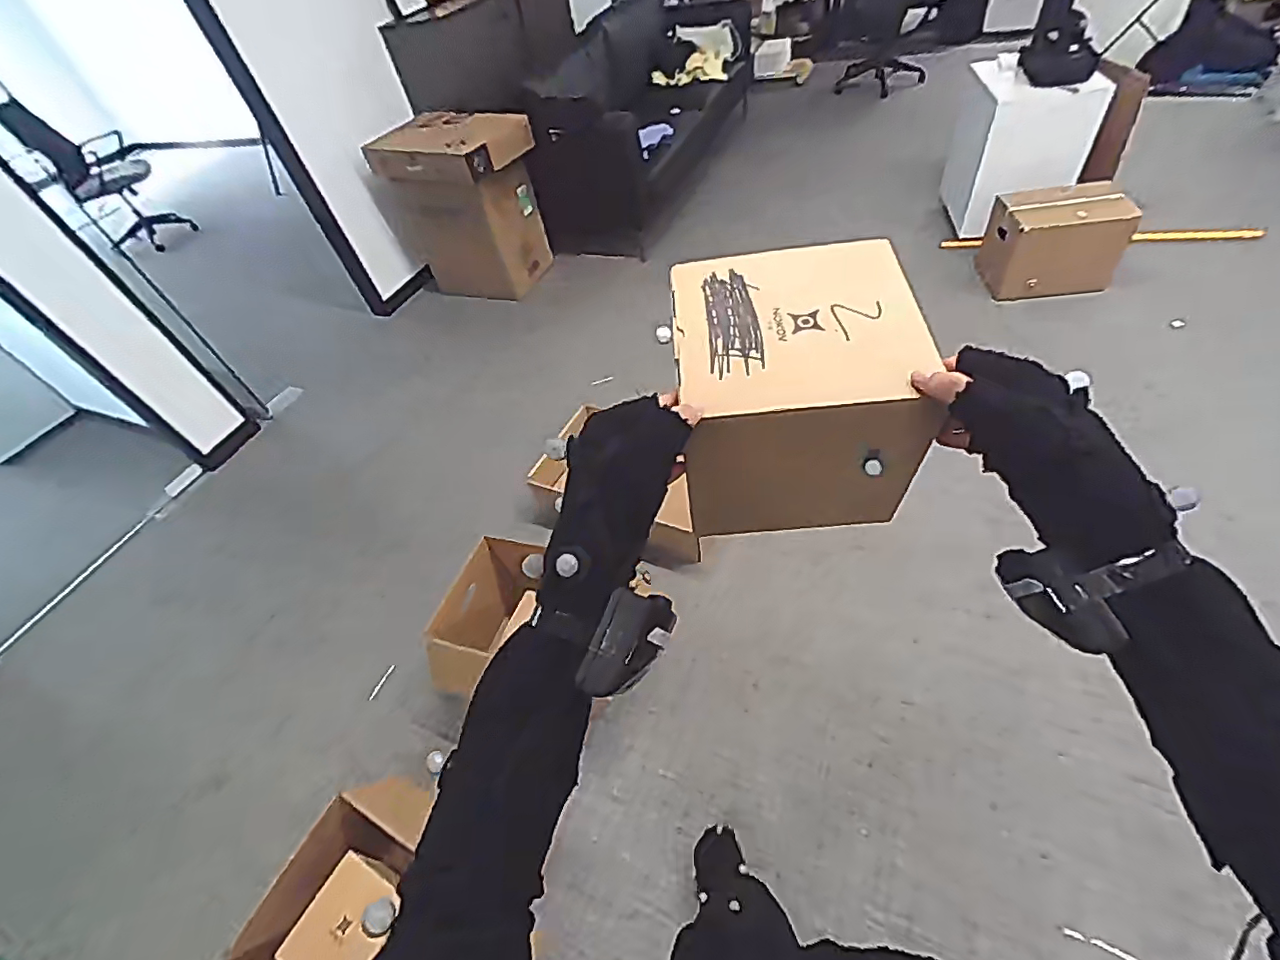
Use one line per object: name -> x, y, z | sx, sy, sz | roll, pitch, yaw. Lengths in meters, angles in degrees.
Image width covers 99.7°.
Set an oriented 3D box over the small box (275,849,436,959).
small box -> -0.506, 0.829, 0.996 | 0.168, 0.176, 0.179 | 16, 53, 25
